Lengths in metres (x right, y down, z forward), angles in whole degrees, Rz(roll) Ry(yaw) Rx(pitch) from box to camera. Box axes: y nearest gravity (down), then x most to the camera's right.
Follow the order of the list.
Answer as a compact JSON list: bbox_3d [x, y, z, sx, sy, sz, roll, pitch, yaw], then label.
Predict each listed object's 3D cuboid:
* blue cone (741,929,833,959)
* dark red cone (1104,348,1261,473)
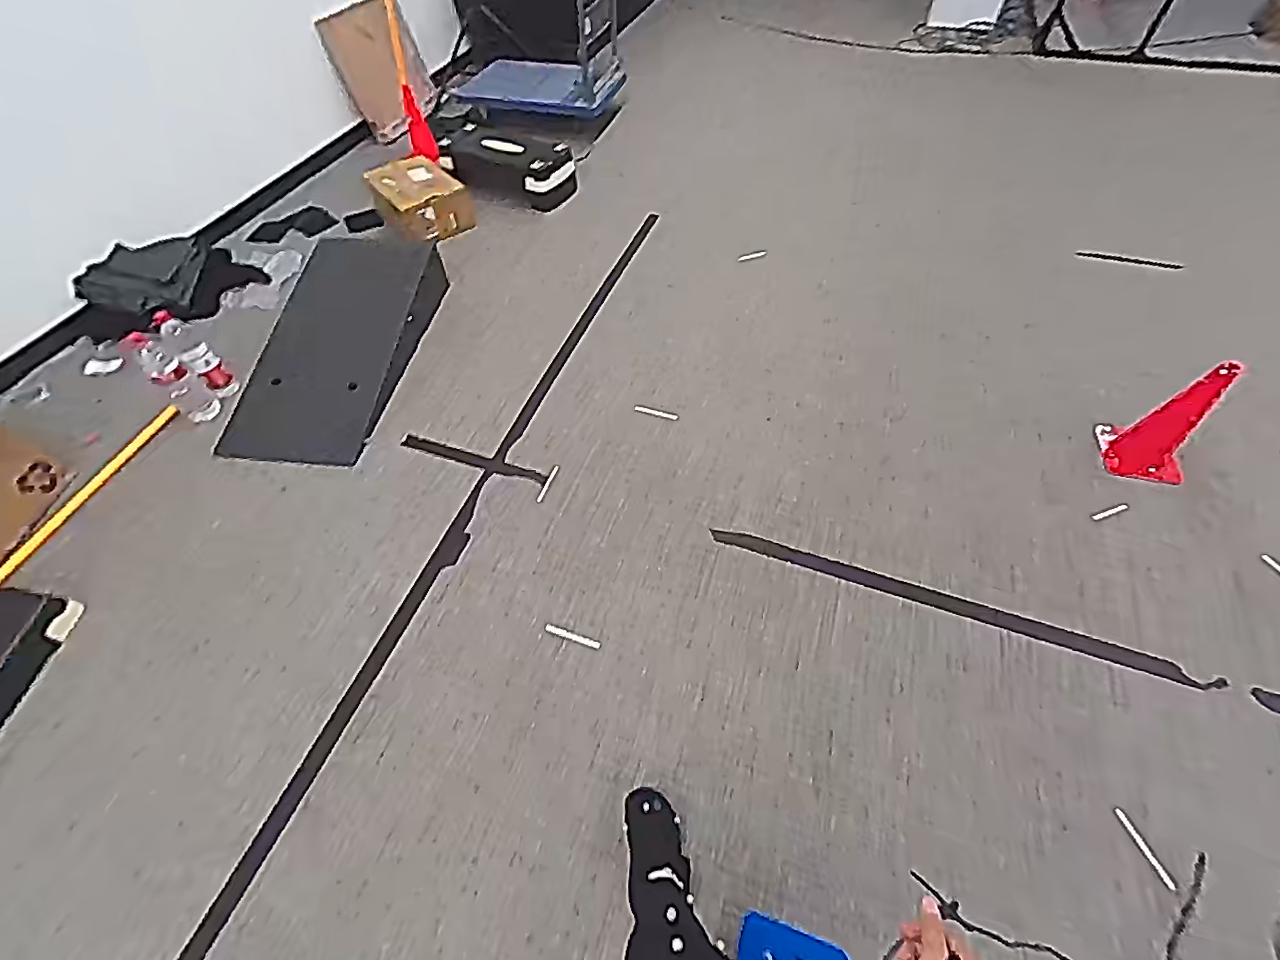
[{"bbox_3d":[0.254,0.832,0.816,0.193,0.380,0.192,16,57,14],"label":"blue cone"},{"bbox_3d":[1.510,-0.203,1.486,0.202,0.394,0.201,9,56,9],"label":"dark red cone"}]
